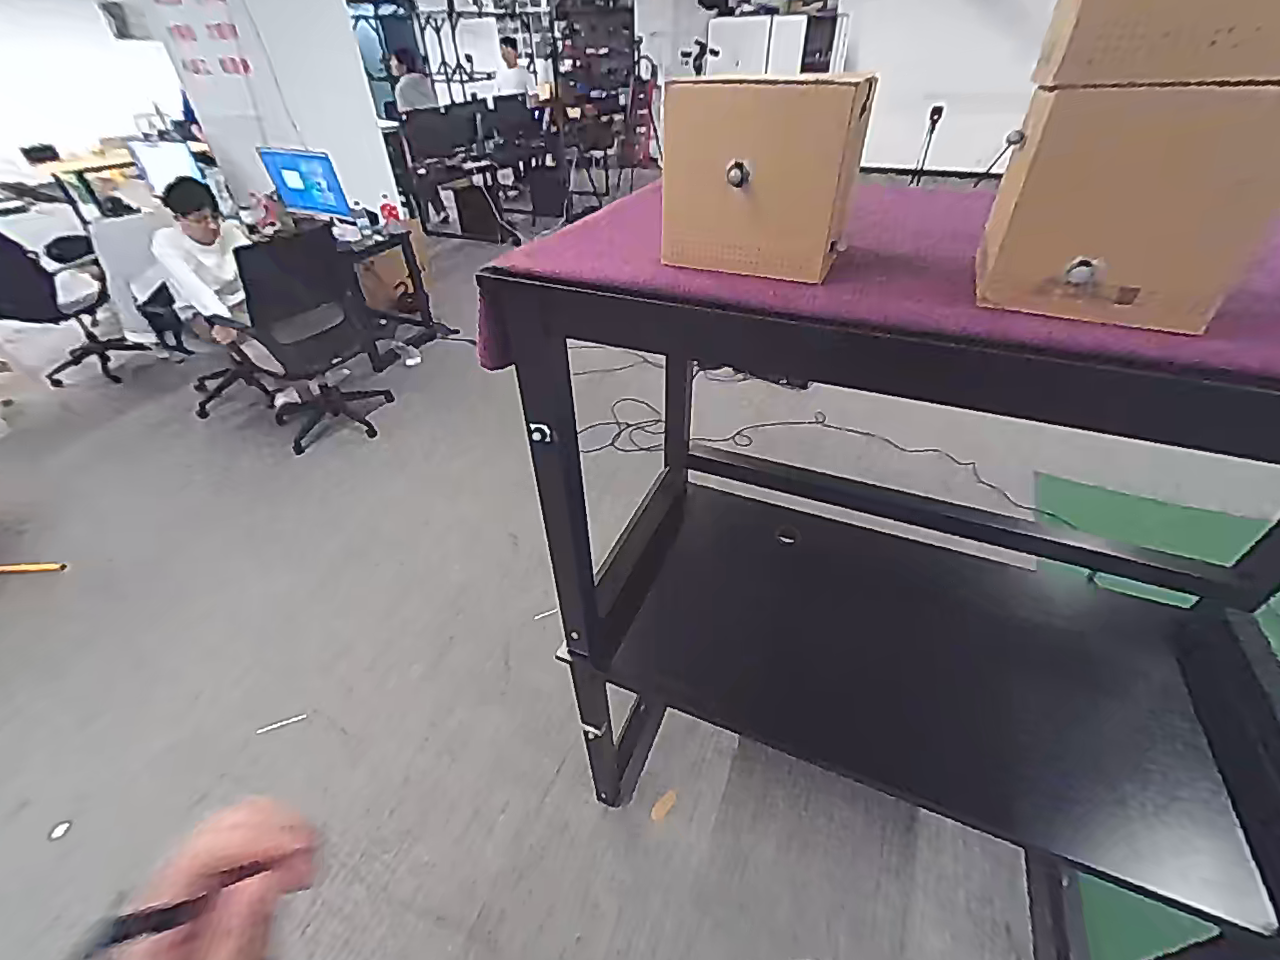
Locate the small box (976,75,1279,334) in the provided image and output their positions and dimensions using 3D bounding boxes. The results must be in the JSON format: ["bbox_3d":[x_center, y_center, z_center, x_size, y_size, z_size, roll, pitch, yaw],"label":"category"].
[{"bbox_3d":[0.413,-0.247,0.472,0.168,0.176,0.179,16,42,22],"label":"small box"}]

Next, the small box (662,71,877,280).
[{"bbox_3d":[0.133,-0.325,0.577,0.179,0.176,0.168,14,41,20],"label":"small box"}]

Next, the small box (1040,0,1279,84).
[{"bbox_3d":[0.403,-0.375,0.369,0.179,0.176,0.168,15,41,22],"label":"small box"}]
